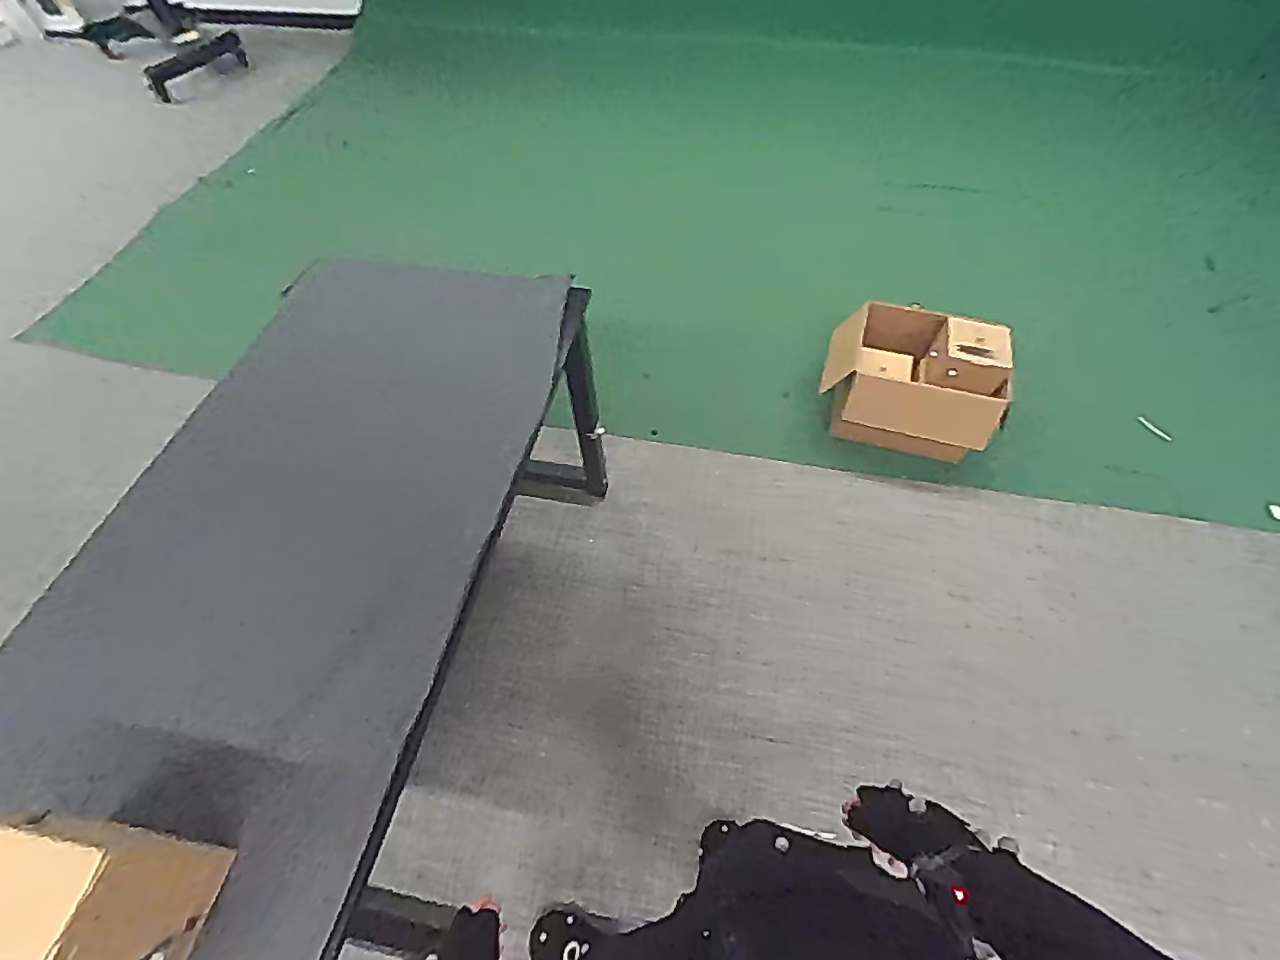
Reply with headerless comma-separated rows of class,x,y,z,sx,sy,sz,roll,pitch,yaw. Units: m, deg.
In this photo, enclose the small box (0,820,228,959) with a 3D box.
small box,-0.541,0.419,0.487,0.179,0.176,0.168,6,57,8
